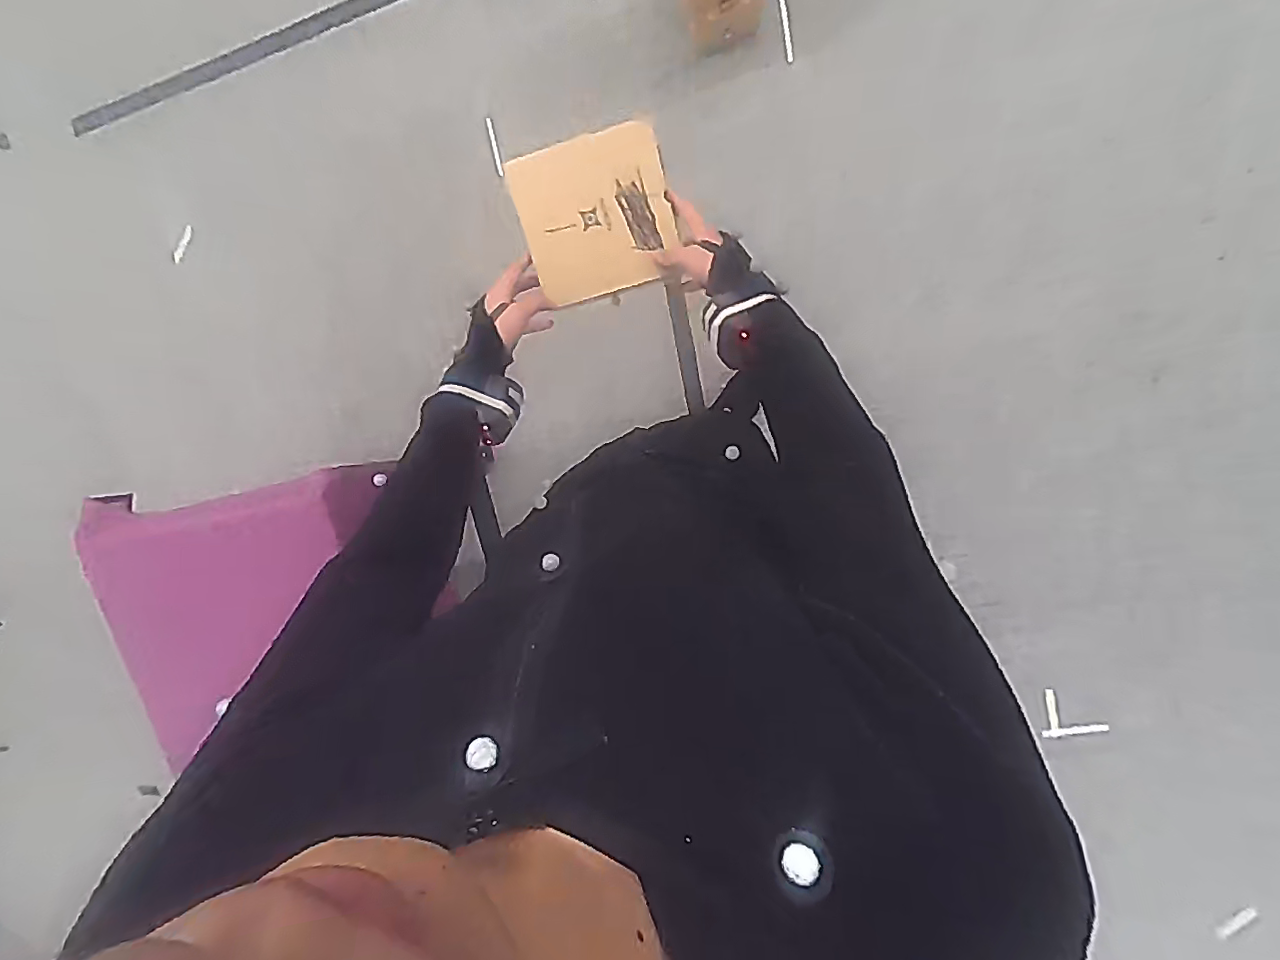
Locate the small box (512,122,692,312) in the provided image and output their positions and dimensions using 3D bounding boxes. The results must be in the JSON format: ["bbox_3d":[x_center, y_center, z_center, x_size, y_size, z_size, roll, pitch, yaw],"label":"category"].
[{"bbox_3d":[-0.041,-0.323,0.695,0.179,0.176,0.168,-14,107,6],"label":"small box"}]

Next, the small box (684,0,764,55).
[{"bbox_3d":[0.187,-1.154,1.261,0.168,0.176,0.179,-14,101,12],"label":"small box"}]
